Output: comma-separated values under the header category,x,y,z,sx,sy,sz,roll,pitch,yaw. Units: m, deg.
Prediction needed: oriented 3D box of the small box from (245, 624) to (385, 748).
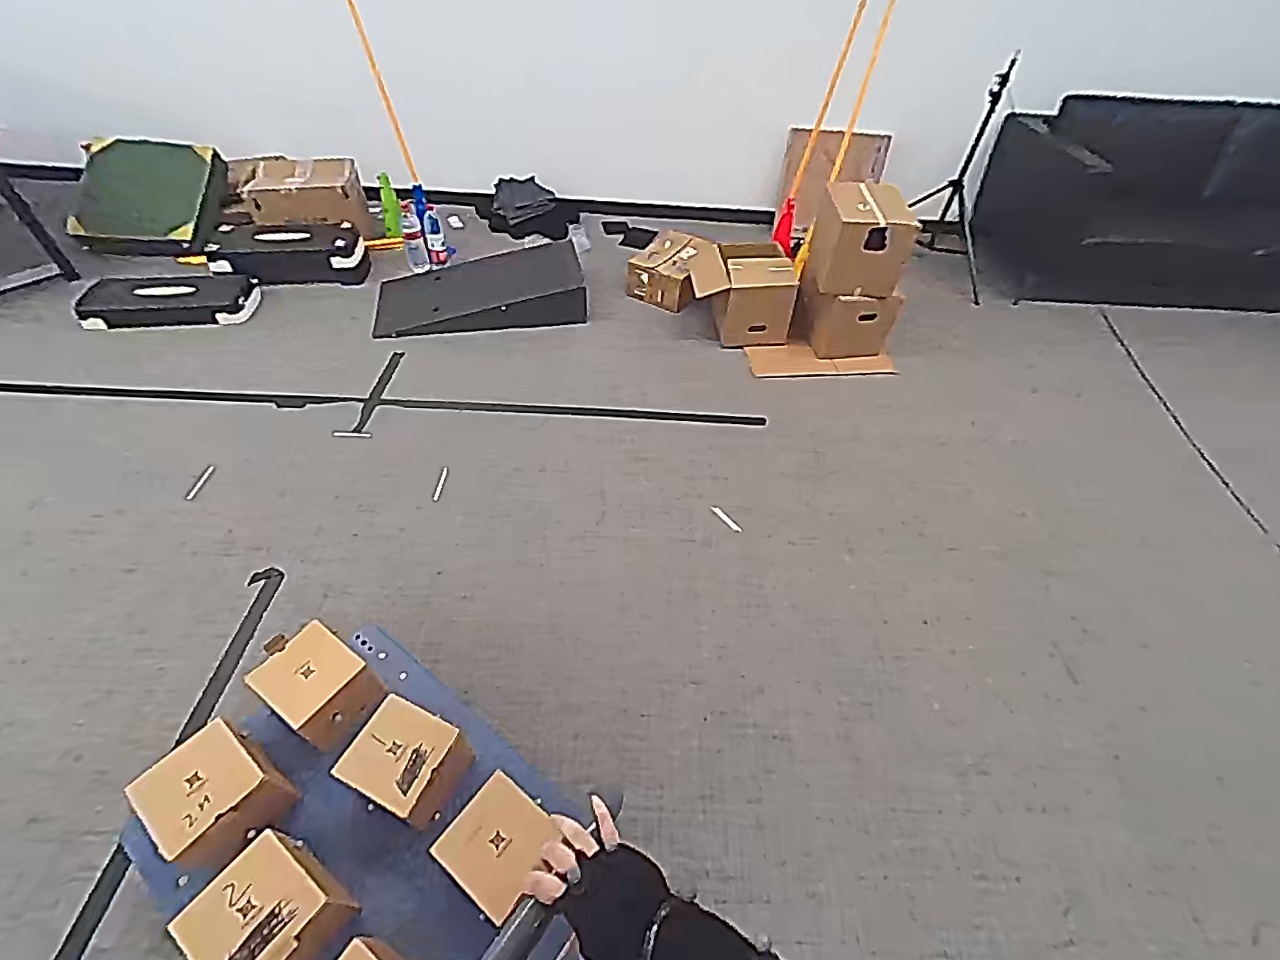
category,x,y,z,sx,sy,sz,roll,pitch,yaw
small box,-0.692,0.453,1.175,0.179,0.176,0.168,28,52,18

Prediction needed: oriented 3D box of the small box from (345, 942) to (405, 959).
category,x,y,z,sx,sy,sz,roll,pitch,yaw
small box,-0.418,0.864,0.837,0.179,0.176,0.168,28,51,18

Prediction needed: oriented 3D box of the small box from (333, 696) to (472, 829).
category,x,y,z,sx,sy,sz,roll,pitch,yaw
small box,-0.463,0.574,1.090,0.179,0.176,0.168,21,50,14

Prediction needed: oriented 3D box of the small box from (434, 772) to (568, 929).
category,x,y,z,sx,sy,sz,roll,pitch,yaw
small box,-0.247,0.691,1.009,0.179,0.176,0.168,31,52,21

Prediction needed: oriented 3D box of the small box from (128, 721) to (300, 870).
category,x,y,z,sx,sy,sz,roll,pitch,yaw
small box,-0.799,0.604,1.030,0.179,0.176,0.168,33,54,21
